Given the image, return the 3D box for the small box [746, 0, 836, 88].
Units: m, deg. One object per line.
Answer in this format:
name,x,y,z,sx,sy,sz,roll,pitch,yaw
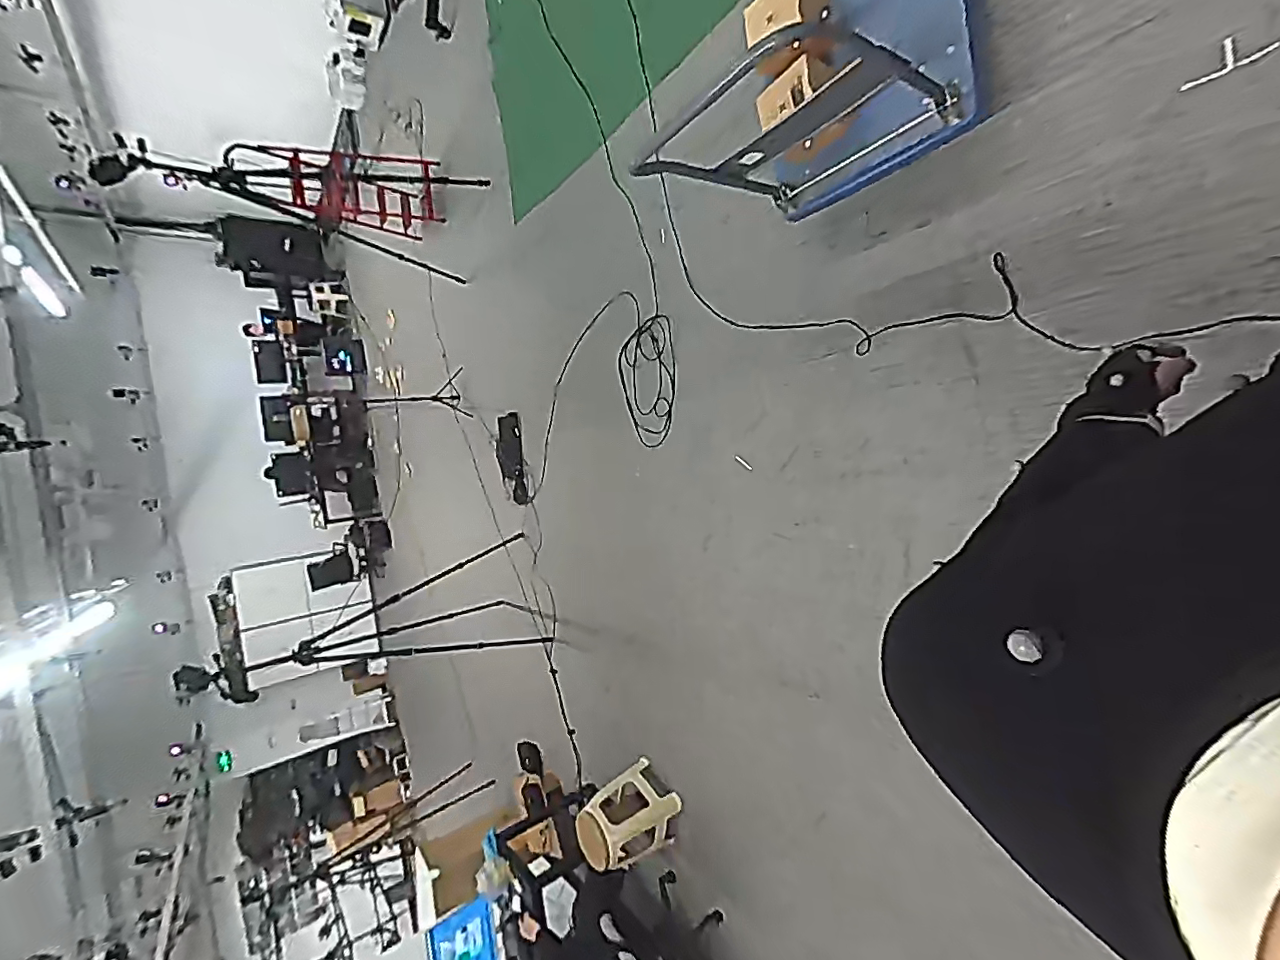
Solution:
small box,0.430,-1.270,1.543,0.179,0.176,0.168,-5,93,51
